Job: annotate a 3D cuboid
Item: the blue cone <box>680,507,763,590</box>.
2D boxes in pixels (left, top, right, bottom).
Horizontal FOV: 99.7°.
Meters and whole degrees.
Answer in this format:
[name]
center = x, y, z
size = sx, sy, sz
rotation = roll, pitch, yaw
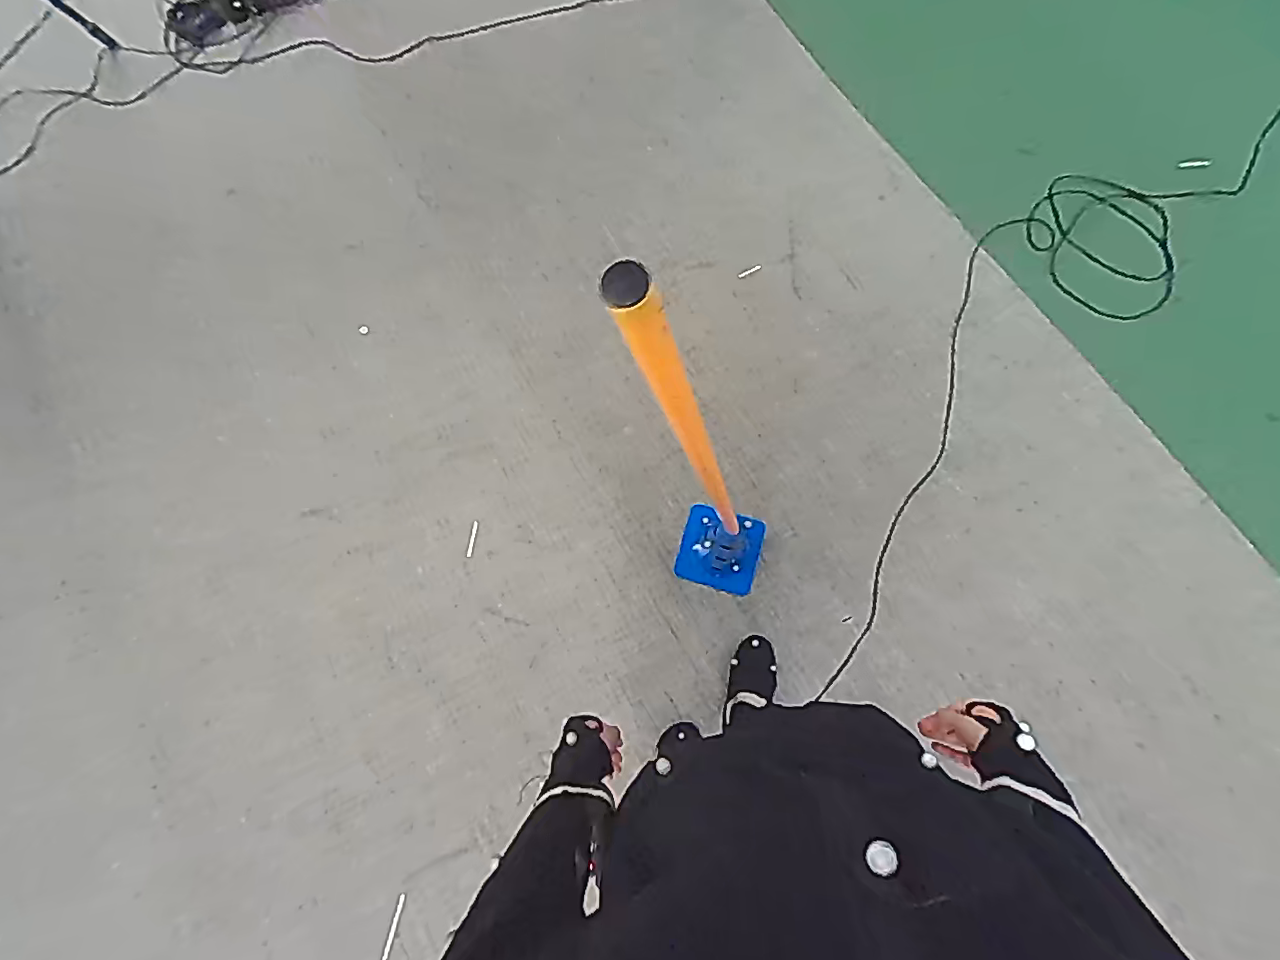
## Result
[blue cone]
center = 0.188, 0.134, 1.191
size = 0.193, 0.380, 0.192
rotation = 13, 79, 8
